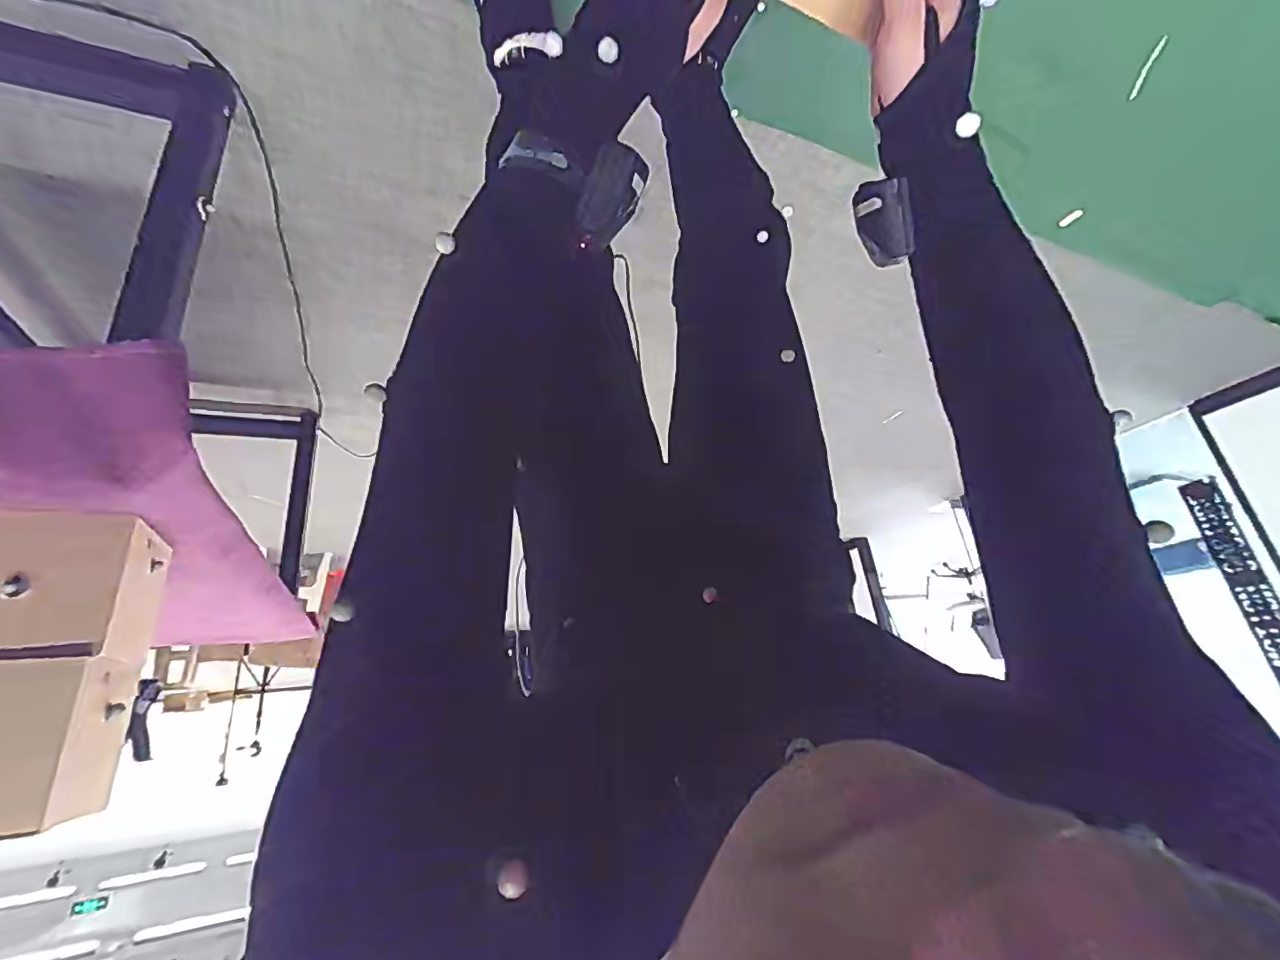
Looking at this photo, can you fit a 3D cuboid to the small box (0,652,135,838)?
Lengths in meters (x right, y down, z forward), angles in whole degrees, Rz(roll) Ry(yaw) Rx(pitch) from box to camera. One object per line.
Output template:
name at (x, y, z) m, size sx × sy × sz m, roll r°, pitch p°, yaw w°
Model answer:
small box at (-0.698, 0.283, 0.579) m, size 0.179 × 0.176 × 0.168 m, roll 5°, pitch 157°, yaw -25°
